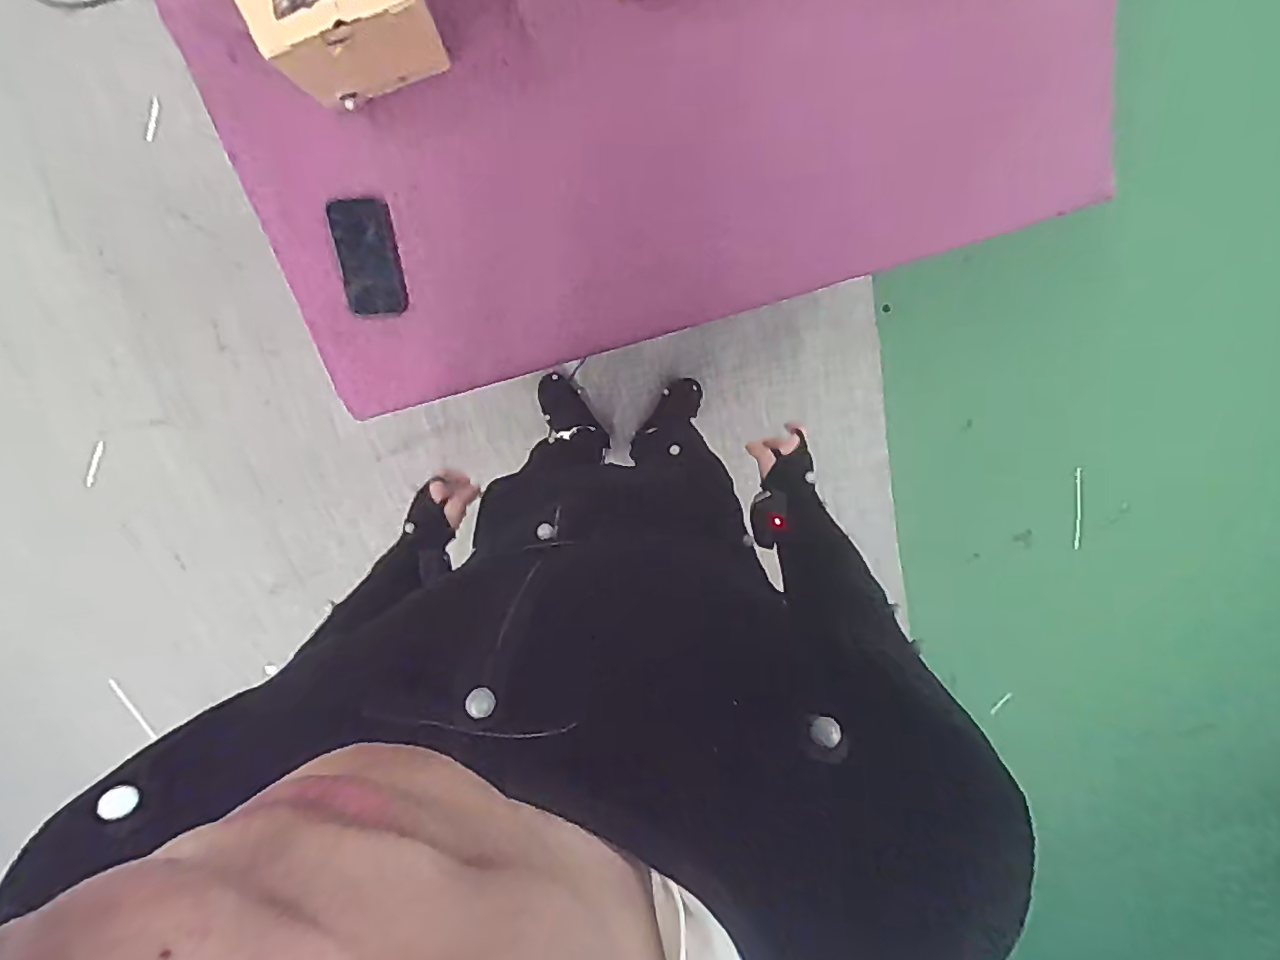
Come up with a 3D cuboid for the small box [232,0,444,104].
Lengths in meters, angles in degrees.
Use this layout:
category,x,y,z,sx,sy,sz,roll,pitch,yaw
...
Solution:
category,x,y,z,sx,sy,sz,roll,pitch,yaw
small box,-0.335,-0.542,0.582,0.168,0.176,0.179,-21,108,-1
